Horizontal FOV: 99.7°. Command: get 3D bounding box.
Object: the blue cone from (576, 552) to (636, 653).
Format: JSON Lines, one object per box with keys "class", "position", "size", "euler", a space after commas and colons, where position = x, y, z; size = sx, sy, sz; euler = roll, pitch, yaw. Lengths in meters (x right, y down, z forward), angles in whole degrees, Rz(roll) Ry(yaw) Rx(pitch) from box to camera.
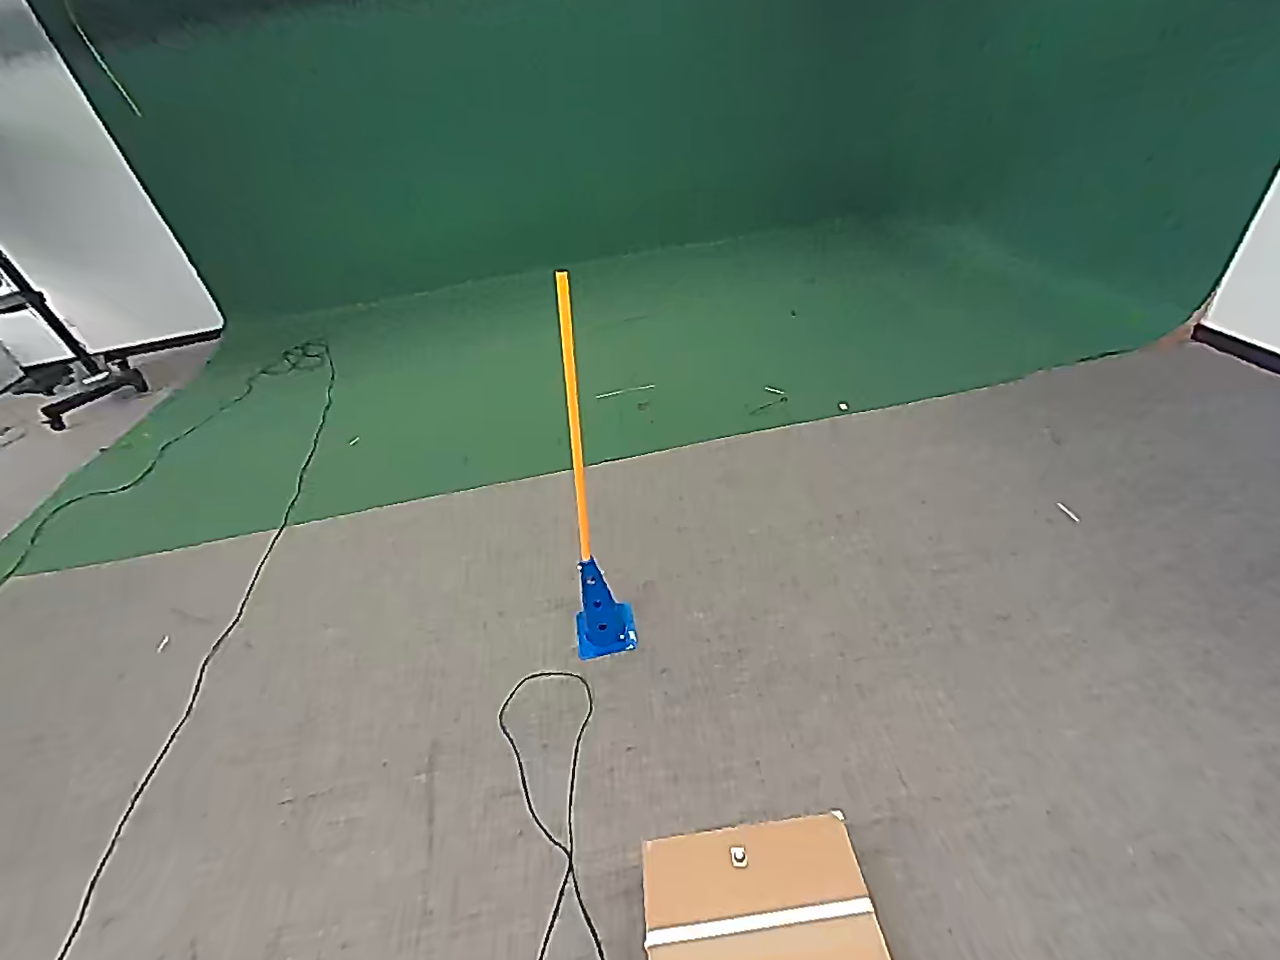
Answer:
{"class": "blue cone", "position": [-0.138, 0.367, 1.743], "size": [0.193, 0.380, 0.192], "euler": [-12, 38, -5]}
